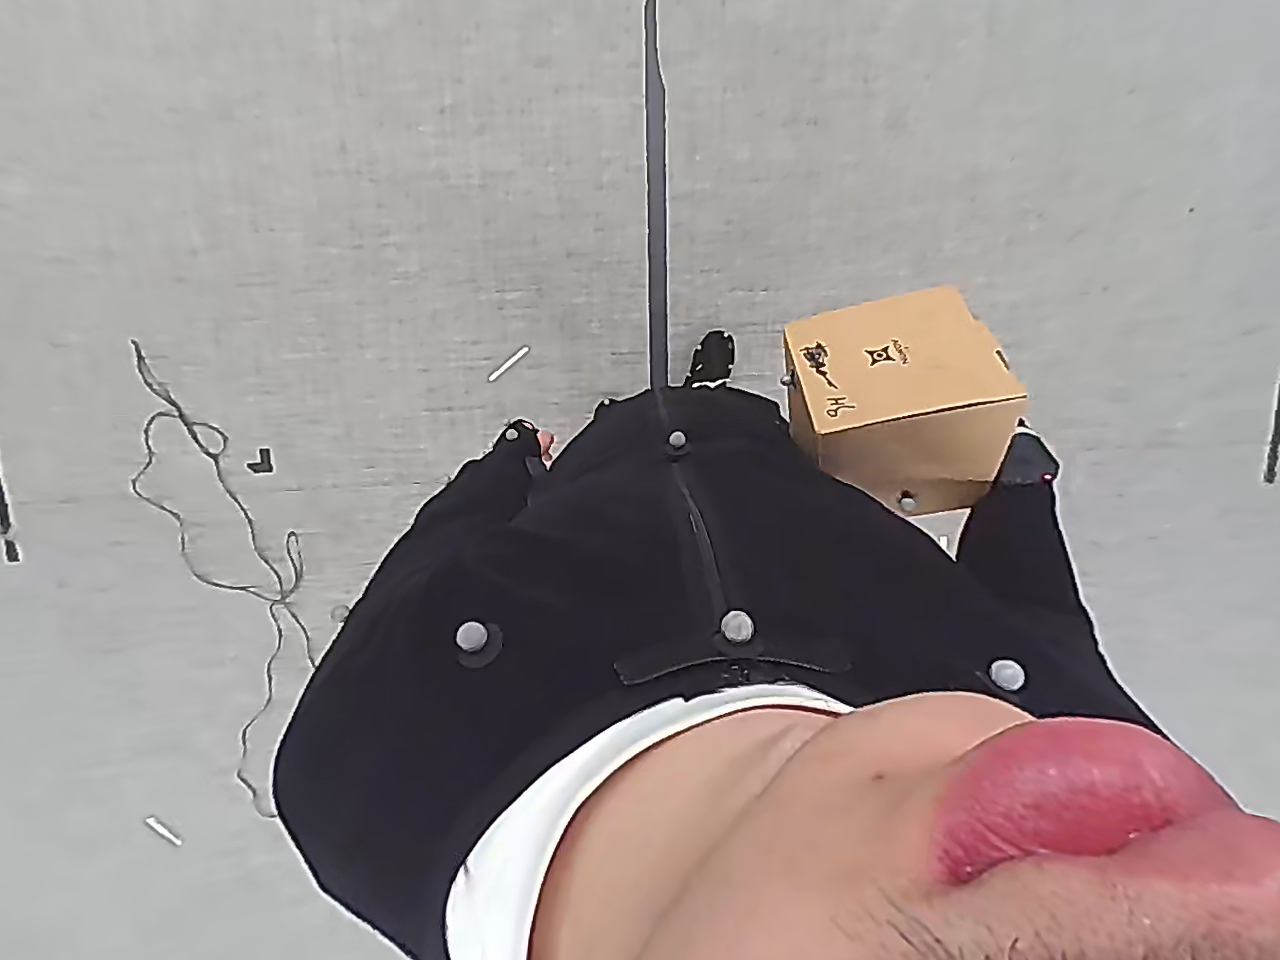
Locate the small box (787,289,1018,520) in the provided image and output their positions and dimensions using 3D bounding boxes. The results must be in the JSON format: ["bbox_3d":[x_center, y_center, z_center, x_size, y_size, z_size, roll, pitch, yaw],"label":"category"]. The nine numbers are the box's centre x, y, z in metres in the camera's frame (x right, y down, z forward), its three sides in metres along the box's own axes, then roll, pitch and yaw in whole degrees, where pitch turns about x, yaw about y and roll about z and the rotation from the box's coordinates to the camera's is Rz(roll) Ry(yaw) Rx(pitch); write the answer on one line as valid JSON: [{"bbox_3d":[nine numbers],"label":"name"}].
[{"bbox_3d":[0.267,-0.075,0.598,0.179,0.168,0.176,-11,140,11],"label":"small box"}]
